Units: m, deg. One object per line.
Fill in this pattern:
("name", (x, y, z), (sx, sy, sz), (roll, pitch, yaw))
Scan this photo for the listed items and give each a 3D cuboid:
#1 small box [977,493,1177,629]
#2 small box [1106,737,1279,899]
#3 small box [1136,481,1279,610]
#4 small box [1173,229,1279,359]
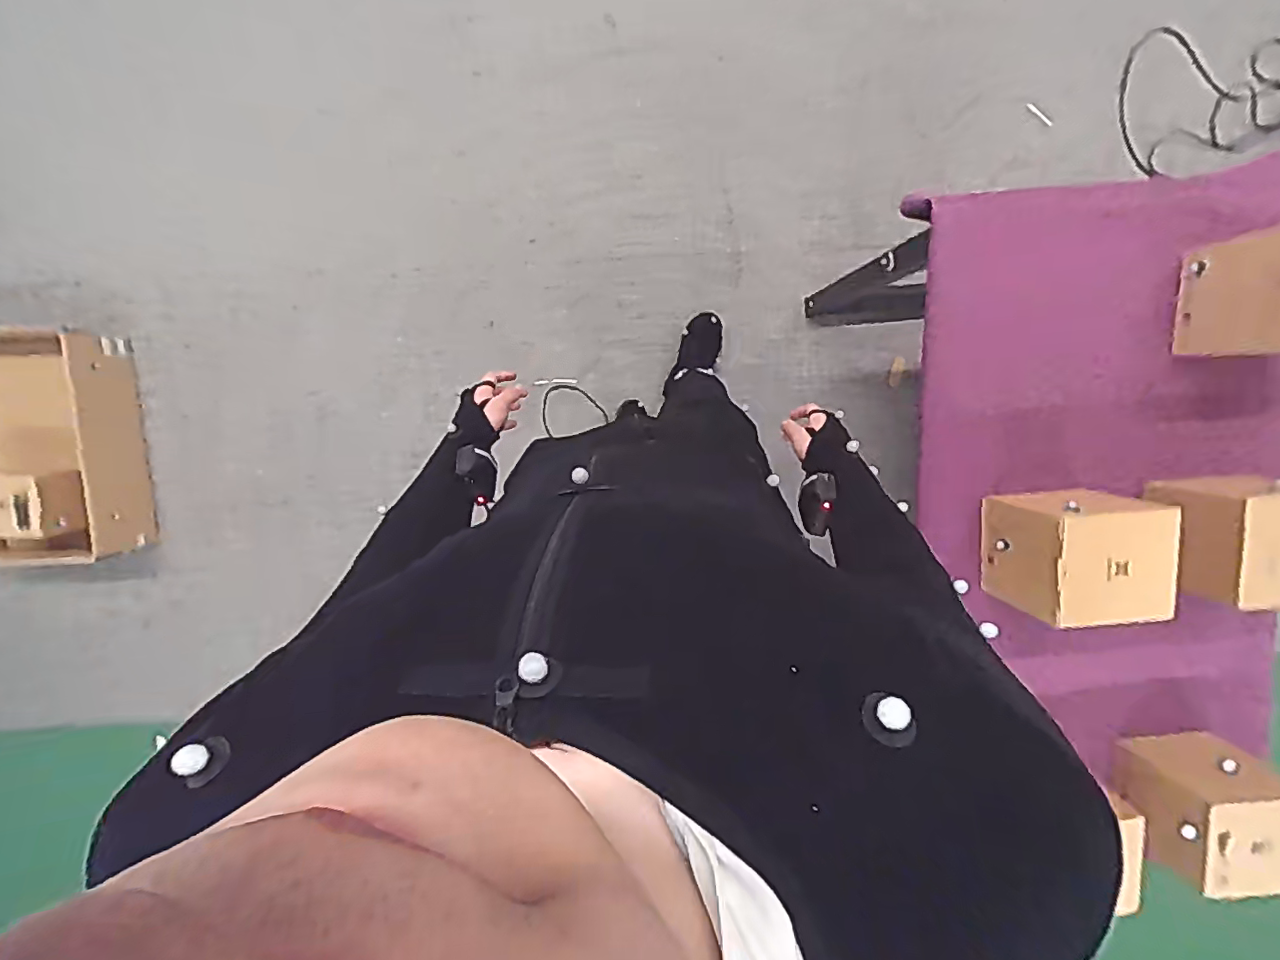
("small box", (0.673, 0.118, 0.851), (0.179, 0.176, 0.168), (-4, 99, -1))
("small box", (0.953, 0.562, 0.920), (0.179, 0.176, 0.168), (-4, 97, -1))
("small box", (0.940, 0.094, 0.856), (0.179, 0.176, 0.168), (-3, 97, 0))
("small box", (0.956, -0.270, 0.799), (0.179, 0.176, 0.168), (-1, 99, 0))
